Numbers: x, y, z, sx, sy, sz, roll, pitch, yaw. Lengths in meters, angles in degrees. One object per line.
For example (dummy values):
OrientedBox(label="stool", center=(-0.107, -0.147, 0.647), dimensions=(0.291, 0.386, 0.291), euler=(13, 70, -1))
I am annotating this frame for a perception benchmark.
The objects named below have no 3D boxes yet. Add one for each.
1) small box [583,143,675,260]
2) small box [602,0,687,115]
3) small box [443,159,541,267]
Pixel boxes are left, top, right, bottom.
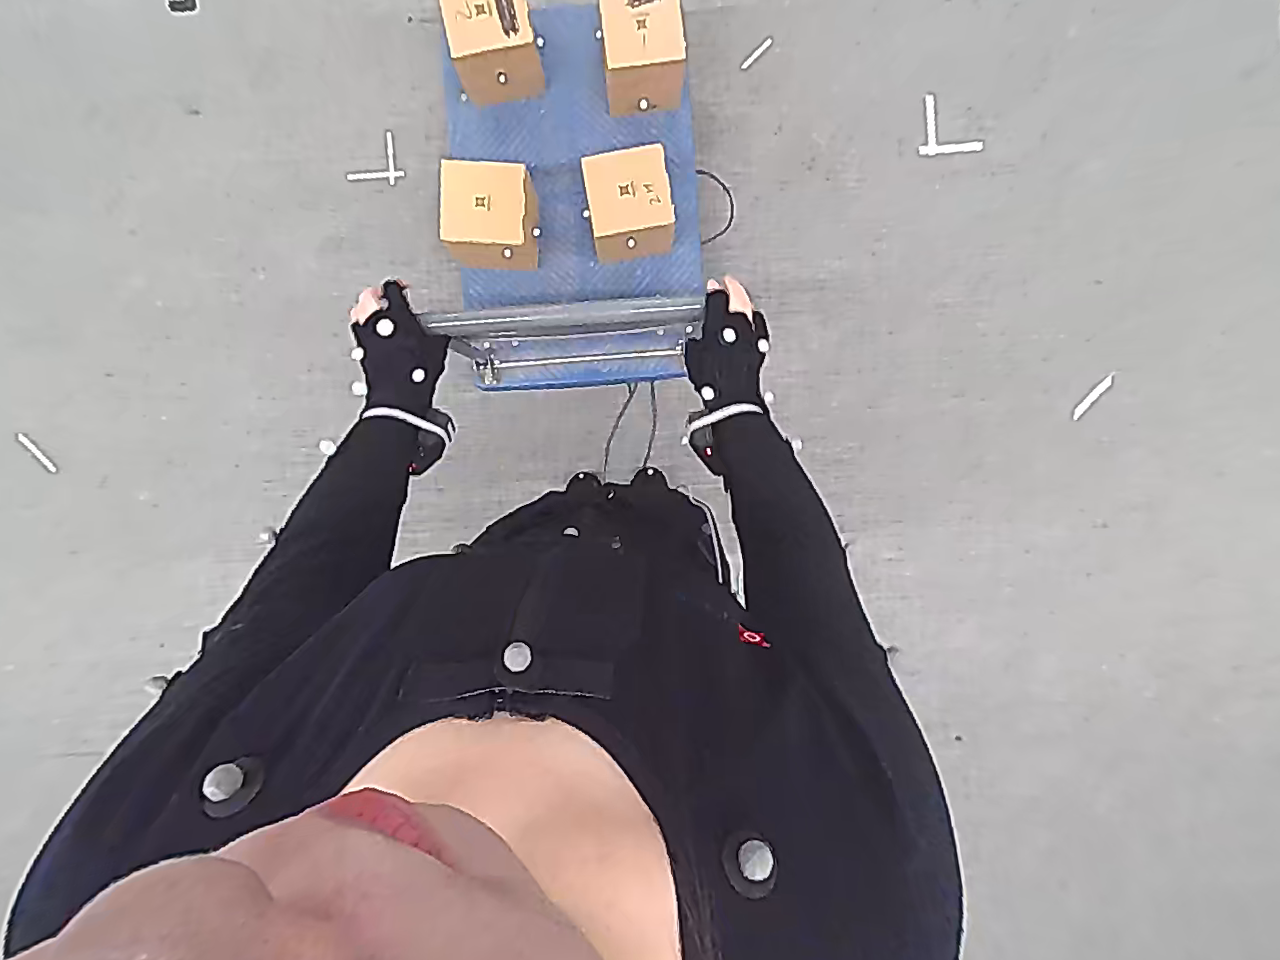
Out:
OrientedBox(label="small box", center=(-0.022, -0.612, 1.211), dimensions=(0.179, 0.176, 0.168), euler=(-10, 93, 0))
OrientedBox(label="small box", center=(0.006, -0.951, 1.191), dimensions=(0.168, 0.176, 0.179), euler=(-7, 94, 0))
OrientedBox(label="small box", center=(-0.325, -0.588, 1.210), dimensions=(0.179, 0.176, 0.168), euler=(2, 93, -2))
